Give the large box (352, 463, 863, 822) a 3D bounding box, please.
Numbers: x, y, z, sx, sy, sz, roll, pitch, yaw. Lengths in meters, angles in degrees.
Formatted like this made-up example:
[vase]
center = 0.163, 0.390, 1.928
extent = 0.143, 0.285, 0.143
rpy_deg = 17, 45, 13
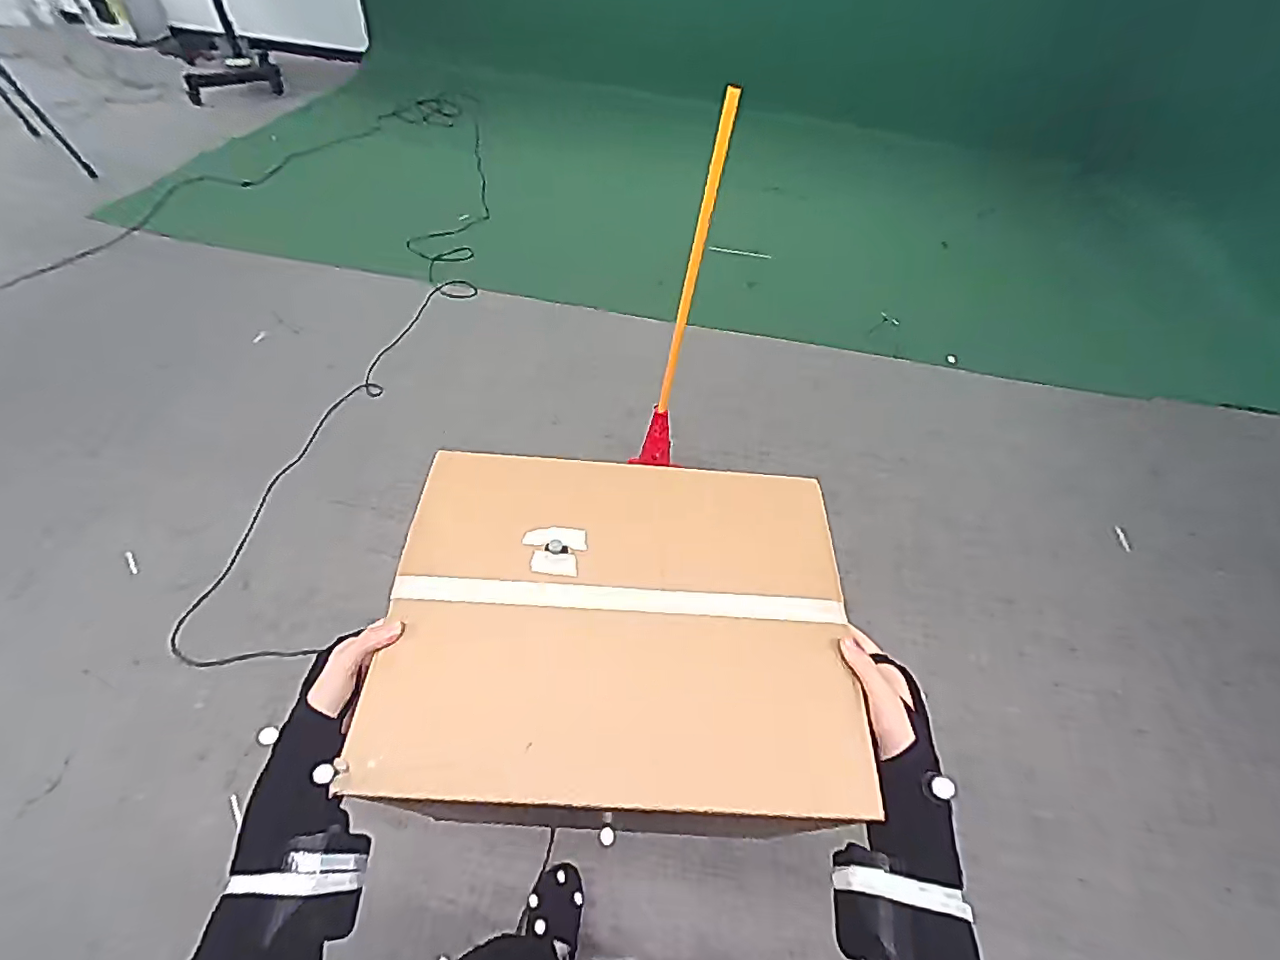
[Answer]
[large box]
center = -0.024, 0.202, 0.621
extent = 0.408, 0.320, 0.320
rpy_deg = 4, 55, -1
